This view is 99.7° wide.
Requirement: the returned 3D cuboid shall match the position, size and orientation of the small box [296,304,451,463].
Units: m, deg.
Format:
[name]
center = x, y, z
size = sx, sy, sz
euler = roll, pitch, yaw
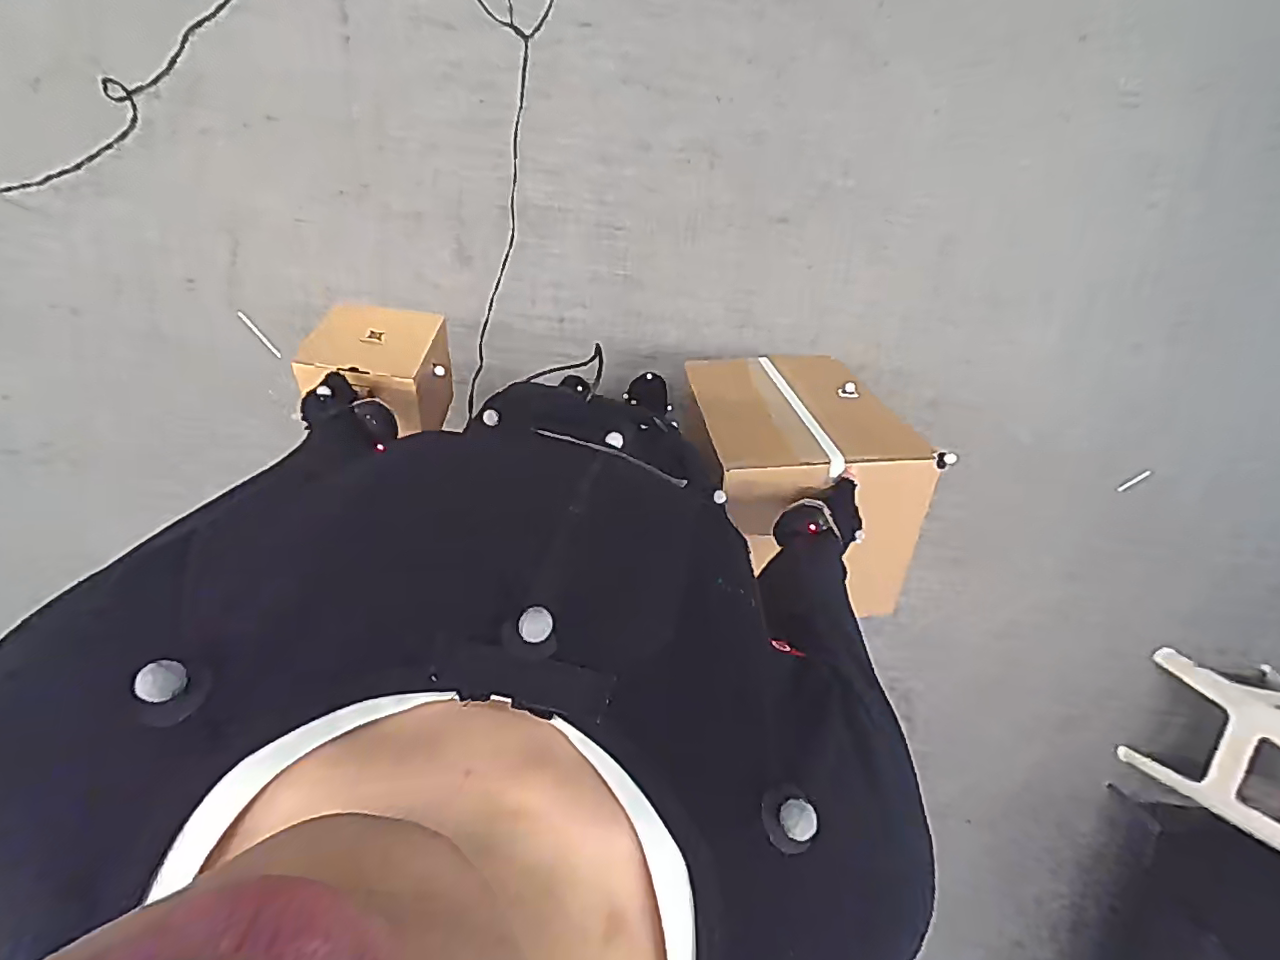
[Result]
[small box]
center = -0.408, -0.152, 0.865
size = 0.168, 0.179, 0.176
euler = 6, 137, -7
